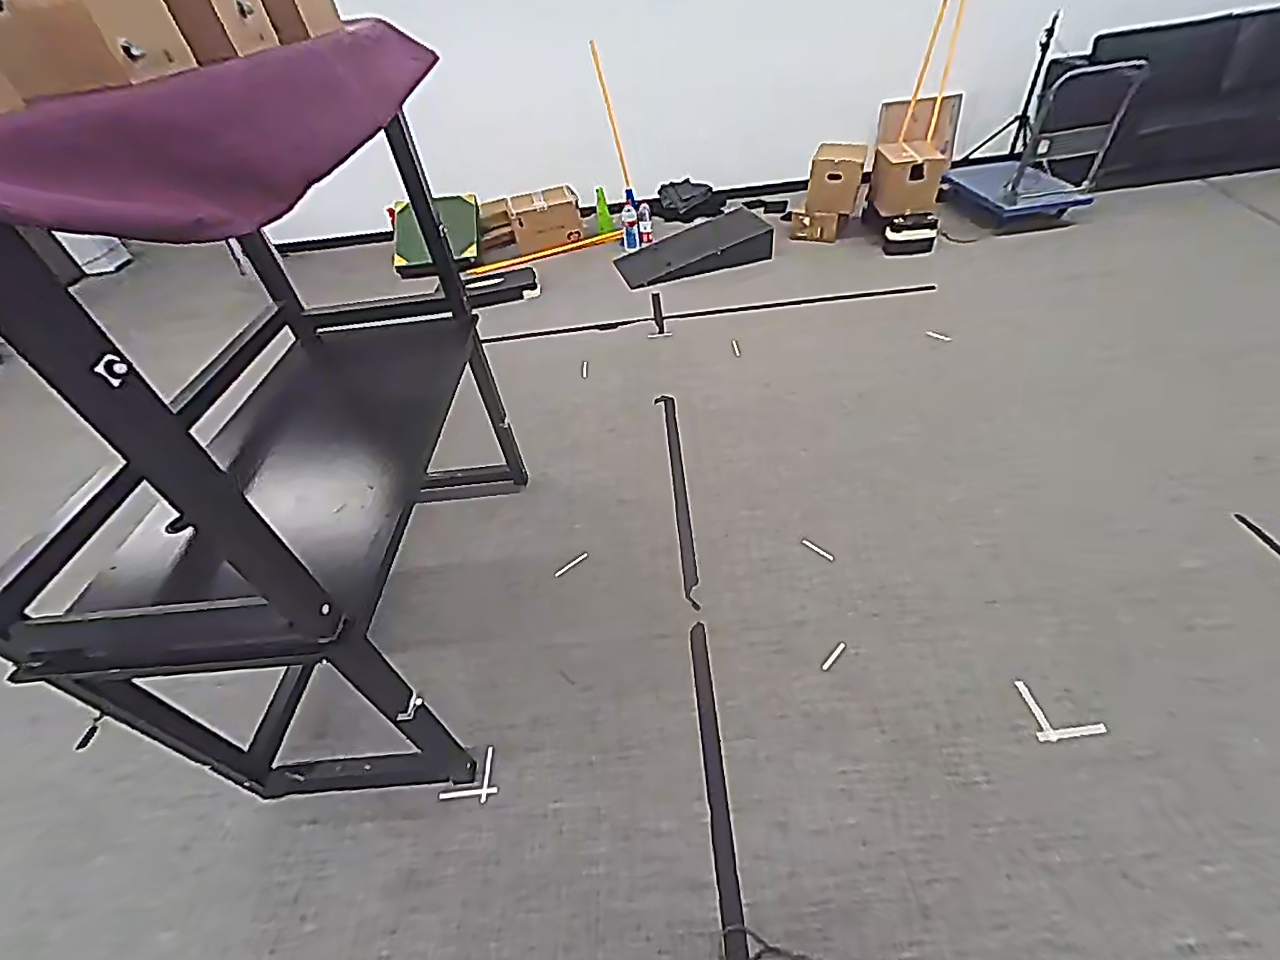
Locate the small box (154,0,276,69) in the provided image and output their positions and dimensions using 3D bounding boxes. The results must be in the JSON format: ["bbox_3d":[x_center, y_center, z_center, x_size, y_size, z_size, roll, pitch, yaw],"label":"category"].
[{"bbox_3d":[-0.739,-0.766,0.863,0.179,0.176,0.168,-7,44,1],"label":"small box"}]

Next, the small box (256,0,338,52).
[{"bbox_3d":[-0.734,-0.961,1.066,0.168,0.176,0.179,-5,45,5],"label":"small box"}]

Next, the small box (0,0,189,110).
[{"bbox_3d":[-0.732,-0.586,0.675,0.179,0.176,0.168,-8,43,1],"label":"small box"}]
